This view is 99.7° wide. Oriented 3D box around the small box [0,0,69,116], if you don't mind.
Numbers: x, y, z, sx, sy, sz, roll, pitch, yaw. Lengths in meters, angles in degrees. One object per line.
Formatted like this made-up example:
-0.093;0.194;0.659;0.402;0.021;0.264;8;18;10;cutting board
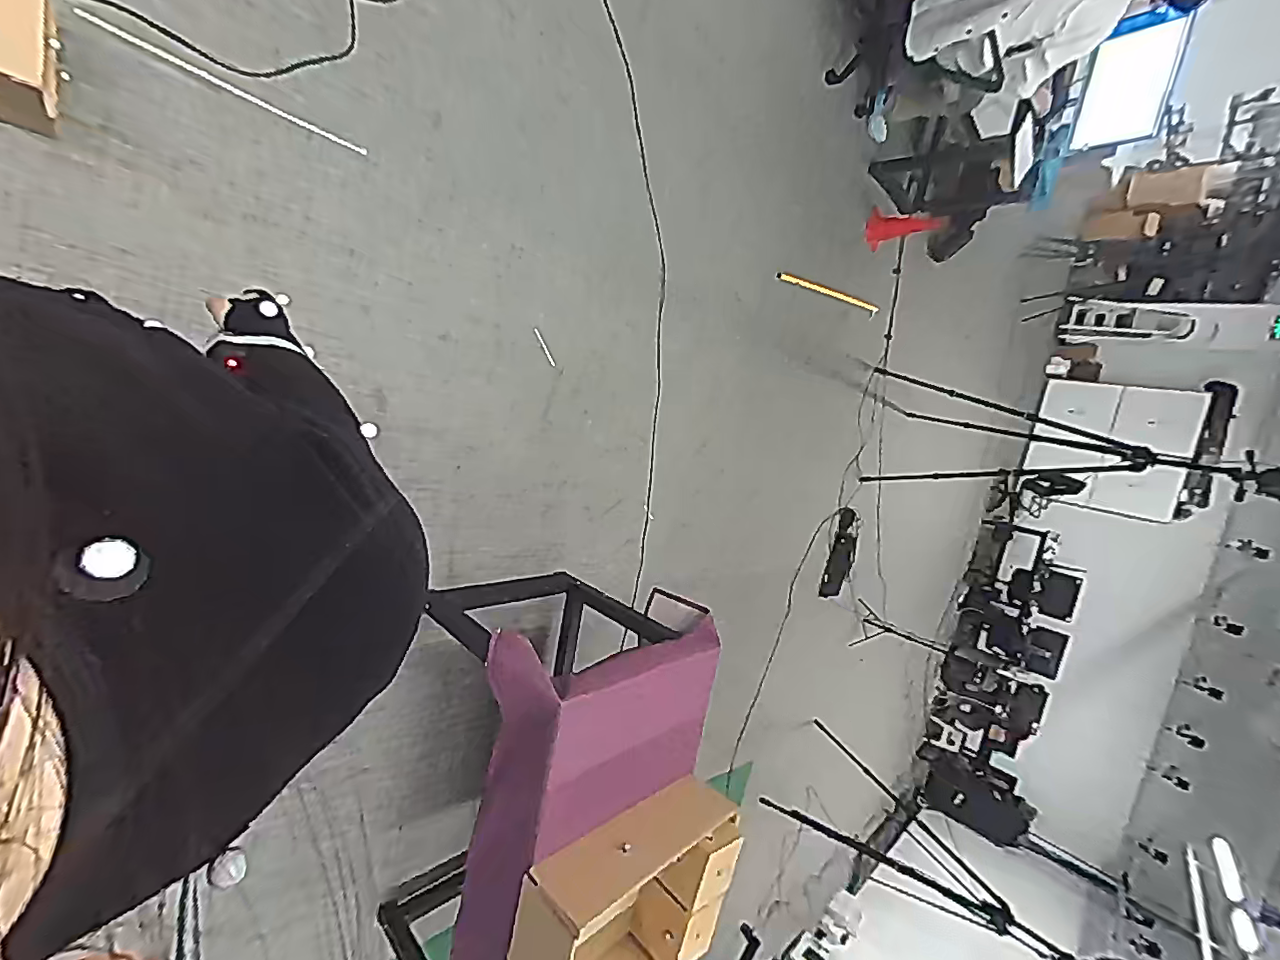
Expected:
-0.910;-0.643;0.743;0.168;0.176;0.179;1;102;-45;small box
